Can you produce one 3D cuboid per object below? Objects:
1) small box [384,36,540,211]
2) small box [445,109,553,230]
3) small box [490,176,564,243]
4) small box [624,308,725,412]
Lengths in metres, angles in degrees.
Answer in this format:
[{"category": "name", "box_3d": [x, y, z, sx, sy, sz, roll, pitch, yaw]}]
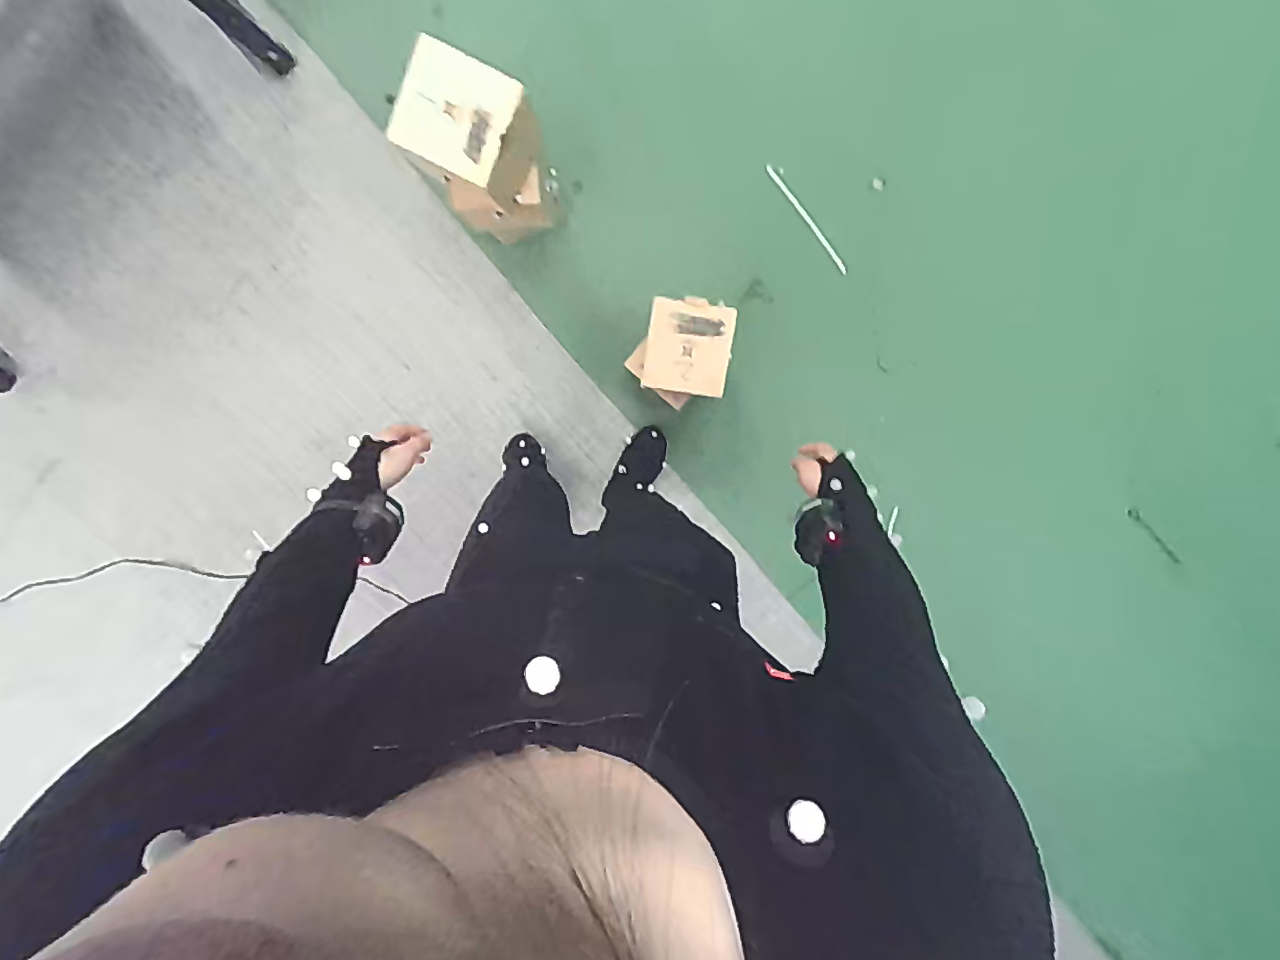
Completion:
[{"category": "small box", "box_3d": [-0.289, -0.584, 0.918, 0.179, 0.176, 0.168, 26, 101, -3]}, {"category": "small box", "box_3d": [-0.281, -0.610, 1.080, 0.179, 0.176, 0.168, -4, 102, 1]}, {"category": "small box", "box_3d": [-0.294, -0.669, 1.234, 0.179, 0.176, 0.168, -24, 101, 5]}, {"category": "small box", "box_3d": [0.076, -0.286, 1.302, 0.168, 0.176, 0.179, 40, 98, -7]}]
